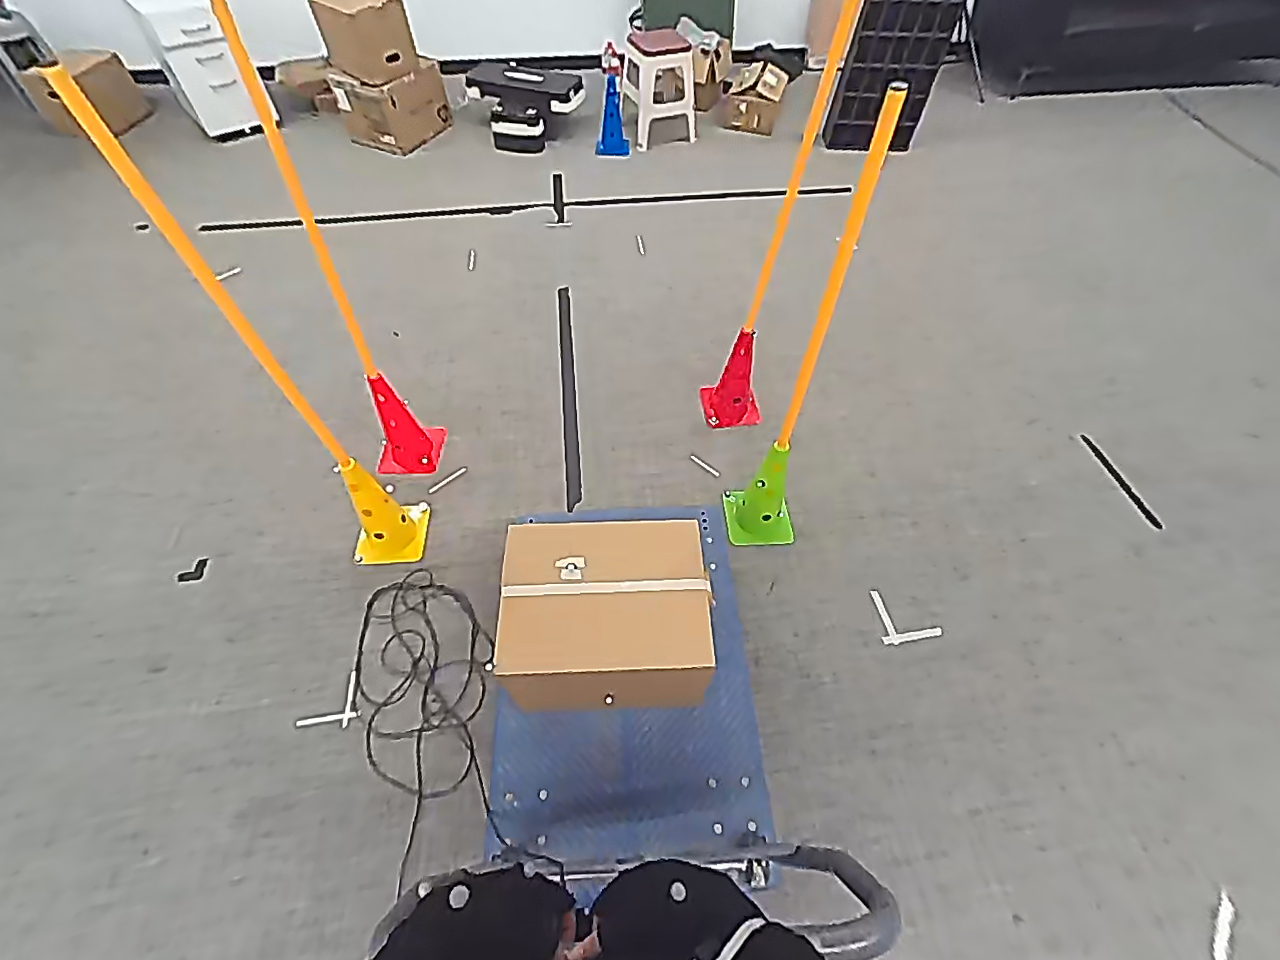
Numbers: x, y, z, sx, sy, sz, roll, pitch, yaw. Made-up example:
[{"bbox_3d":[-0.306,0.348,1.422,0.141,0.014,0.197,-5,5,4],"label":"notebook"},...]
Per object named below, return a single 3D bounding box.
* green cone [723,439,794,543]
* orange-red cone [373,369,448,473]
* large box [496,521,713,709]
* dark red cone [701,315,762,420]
[{"bbox_3d":[0.379,0.013,1.584,0.202,0.368,0.200,-1,54,-4],"label":"green cone"},{"bbox_3d":[-0.770,-0.209,1.722,0.198,0.360,0.199,2,53,-1],"label":"orange-red cone"},{"bbox_3d":[-0.069,0.305,1.187,0.408,0.320,0.320,-2,54,-1],"label":"large box"},{"bbox_3d":[0.342,-0.390,1.852,0.201,0.394,0.202,-4,55,-6],"label":"dark red cone"}]
